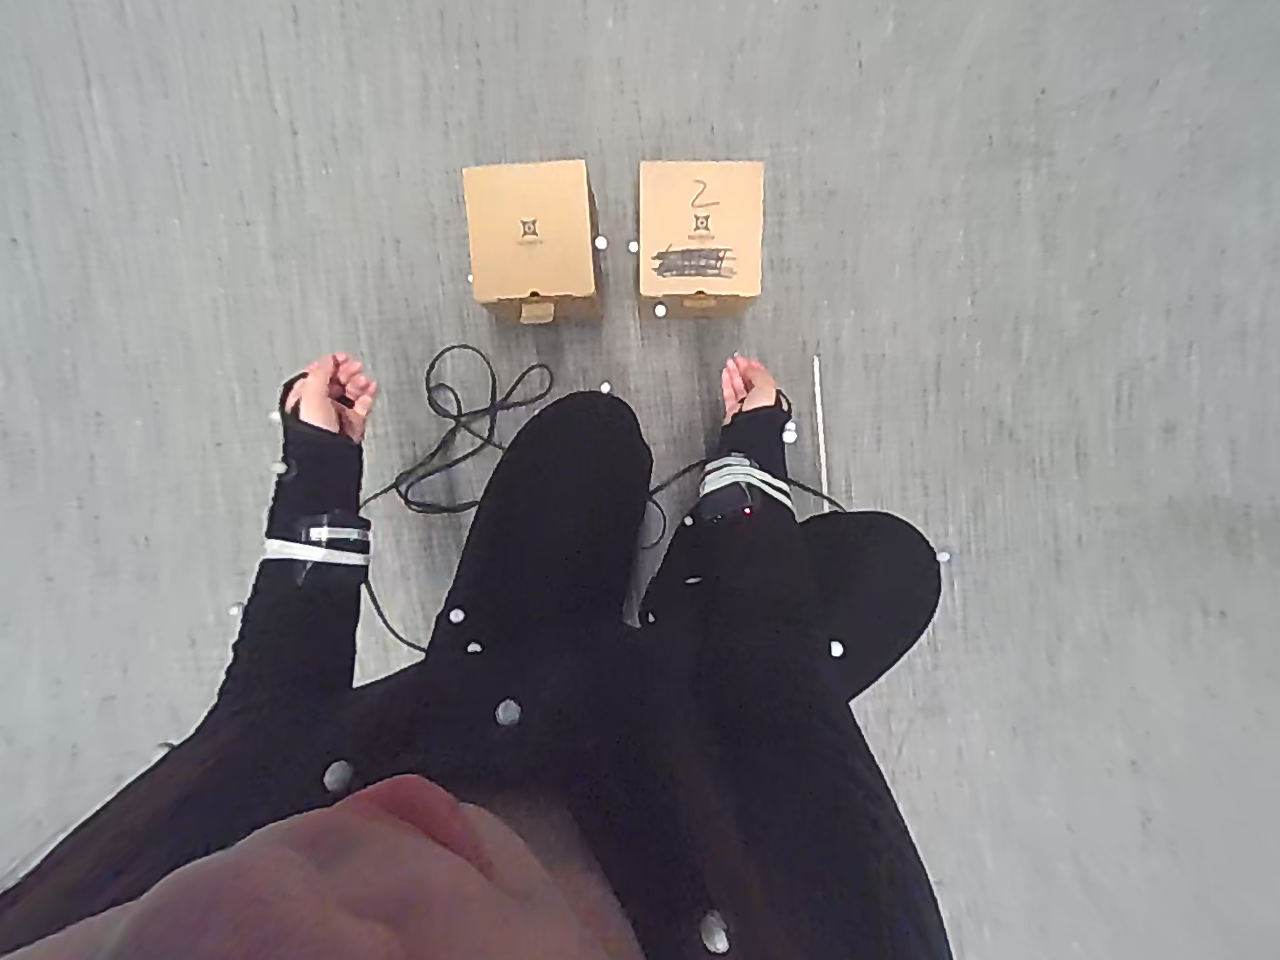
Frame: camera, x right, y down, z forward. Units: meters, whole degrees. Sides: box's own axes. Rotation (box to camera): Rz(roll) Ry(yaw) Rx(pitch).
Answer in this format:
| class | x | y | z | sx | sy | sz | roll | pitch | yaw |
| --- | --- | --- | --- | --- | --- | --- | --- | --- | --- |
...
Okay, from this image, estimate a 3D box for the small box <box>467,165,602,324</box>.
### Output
| class | x | y | z | sx | sy | sz | roll | pitch | yaw |
| --- | --- | --- | --- | --- | --- | --- | --- | --- | --- |
| small box | -0.147 | -0.340 | 0.808 | 0.168 | 0.176 | 0.179 | -3 | 97 | 0 |
